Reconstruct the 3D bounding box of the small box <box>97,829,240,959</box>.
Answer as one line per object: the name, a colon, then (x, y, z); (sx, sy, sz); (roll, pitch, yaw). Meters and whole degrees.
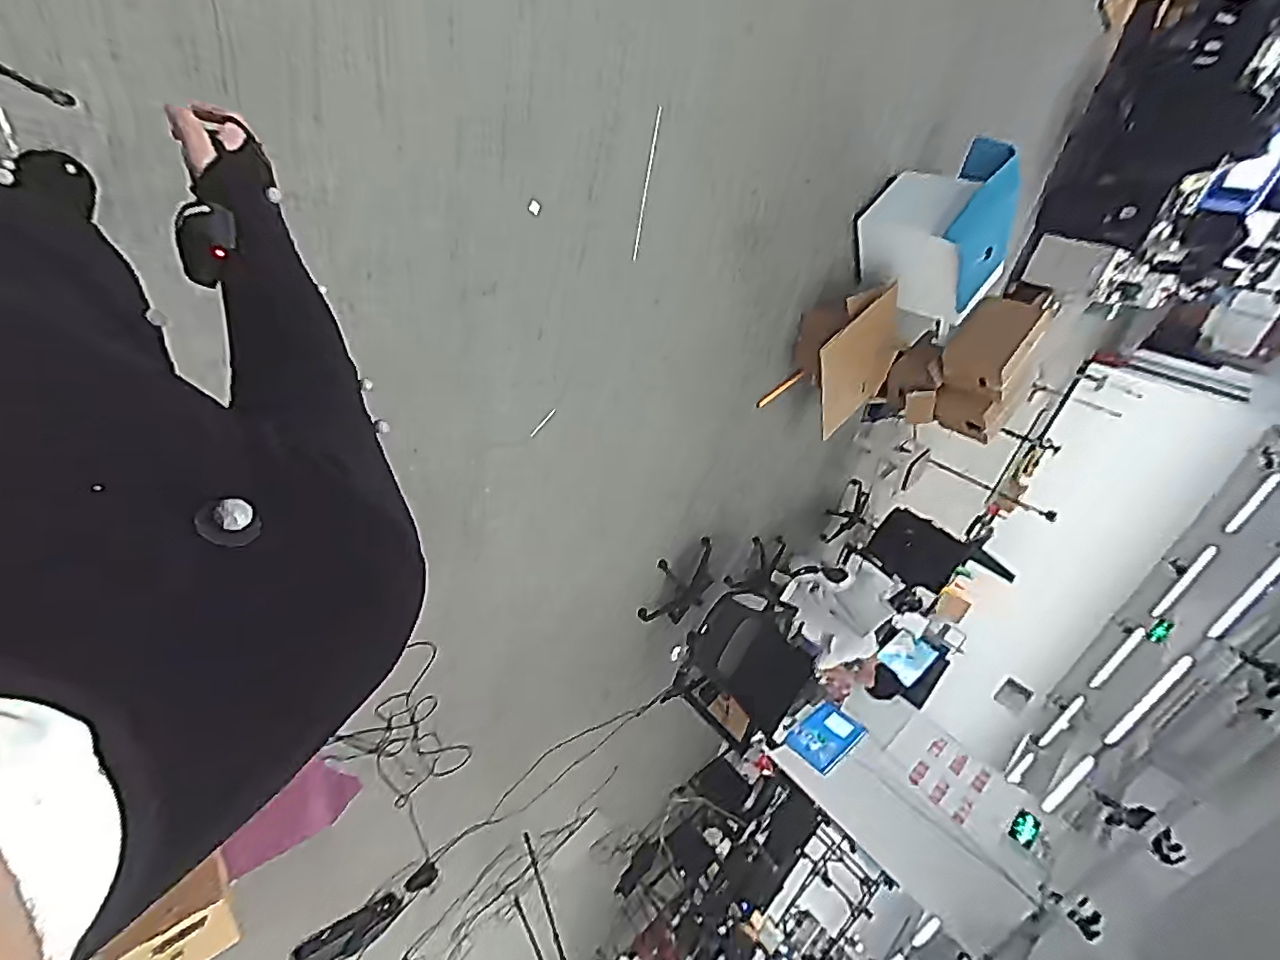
small box: (-0.875, 0.799, 1.007); (0.168, 0.176, 0.179); (-15, 129, -39)
